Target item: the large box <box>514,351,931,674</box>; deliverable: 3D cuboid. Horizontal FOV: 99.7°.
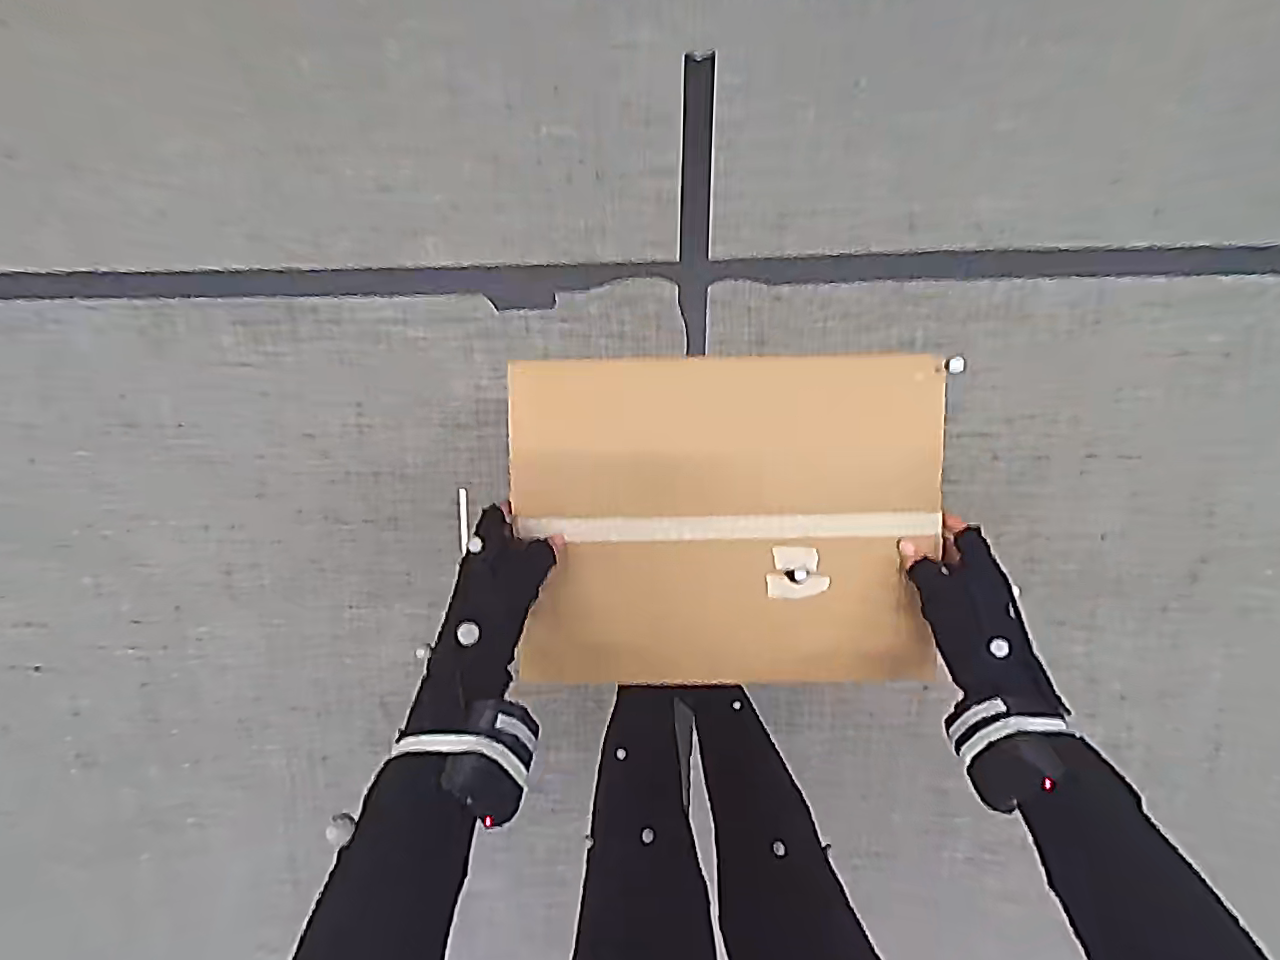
[{"bbox_3d":[0.082,0.023,0.677,0.408,0.320,0.320,-2,97,1],"label":"large box"}]
